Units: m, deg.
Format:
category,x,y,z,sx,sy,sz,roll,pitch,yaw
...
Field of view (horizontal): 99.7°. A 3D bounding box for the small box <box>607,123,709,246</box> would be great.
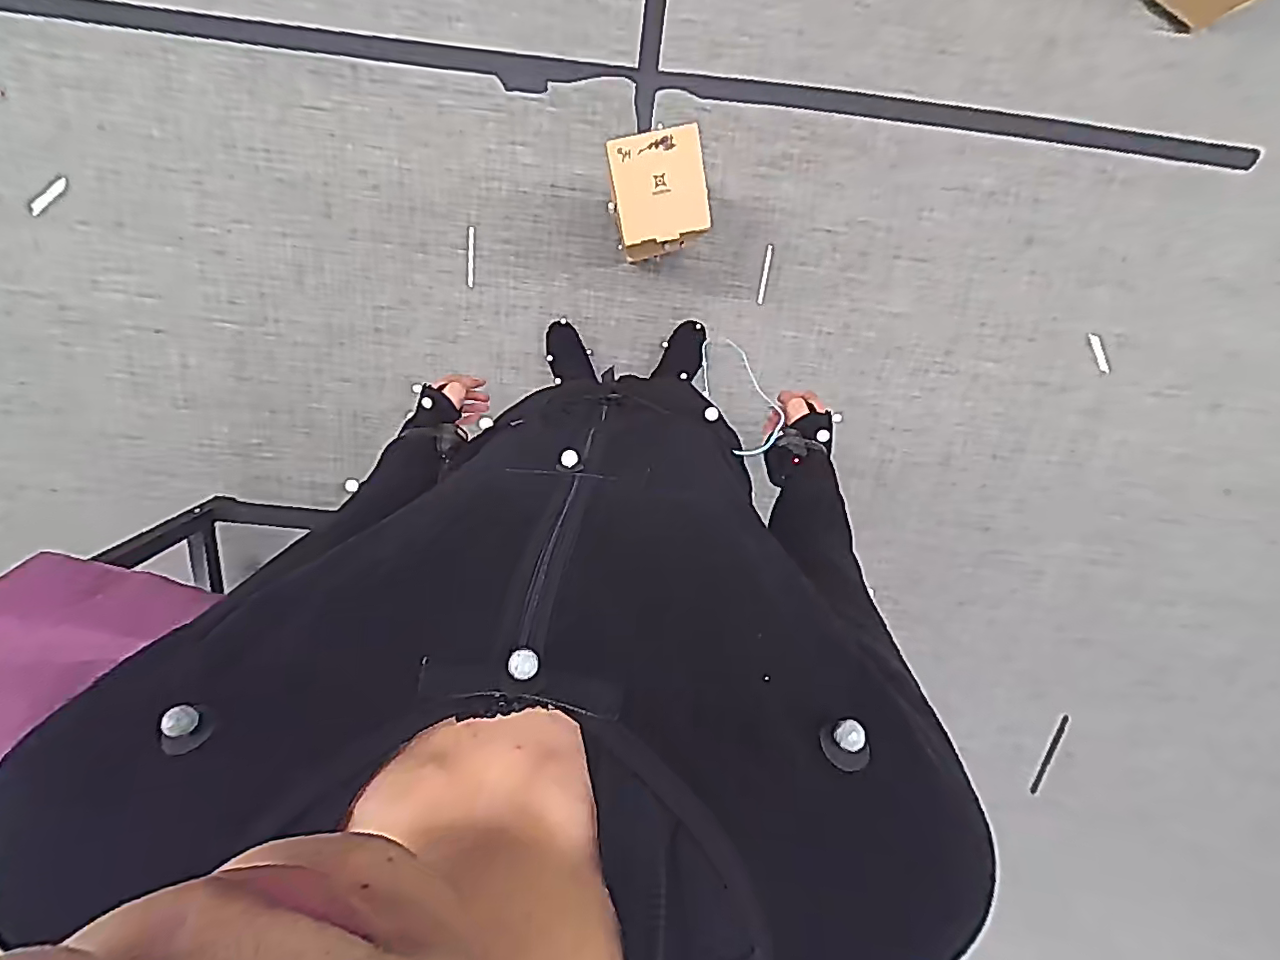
category,x,y,z,sx,sy,sz,roll,pitch,yaw
small box,0.034,-0.561,1.052,0.168,0.176,0.179,-10,110,2
